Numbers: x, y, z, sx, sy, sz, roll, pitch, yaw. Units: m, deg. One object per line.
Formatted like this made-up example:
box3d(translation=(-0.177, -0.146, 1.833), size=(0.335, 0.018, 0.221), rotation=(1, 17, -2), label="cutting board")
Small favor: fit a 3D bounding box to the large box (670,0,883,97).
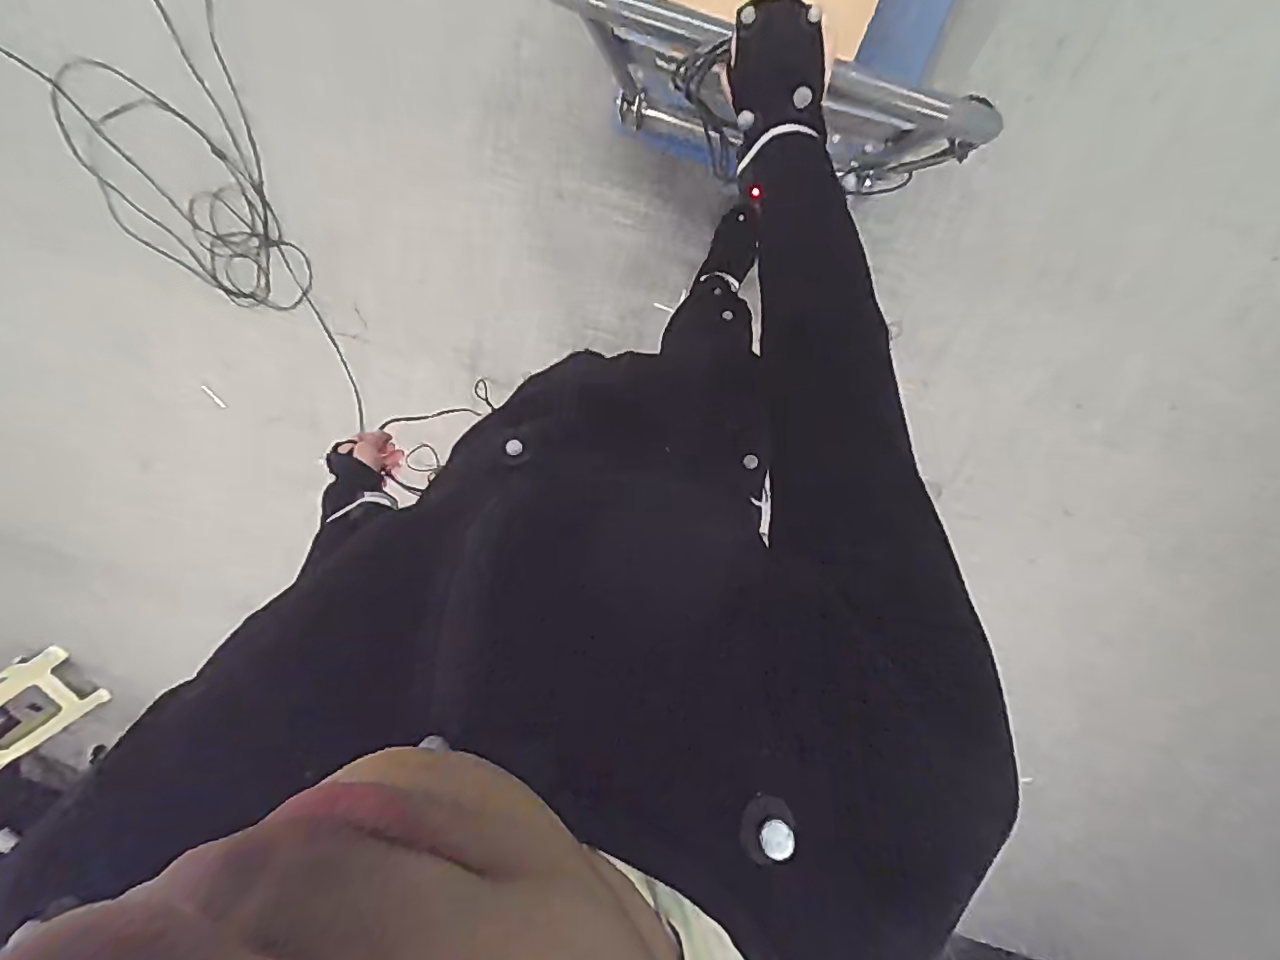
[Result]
box3d(translation=(0.259, -0.901, 0.838), size=(0.320, 0.320, 0.408), rotation=(20, 116, -1), label="large box")
